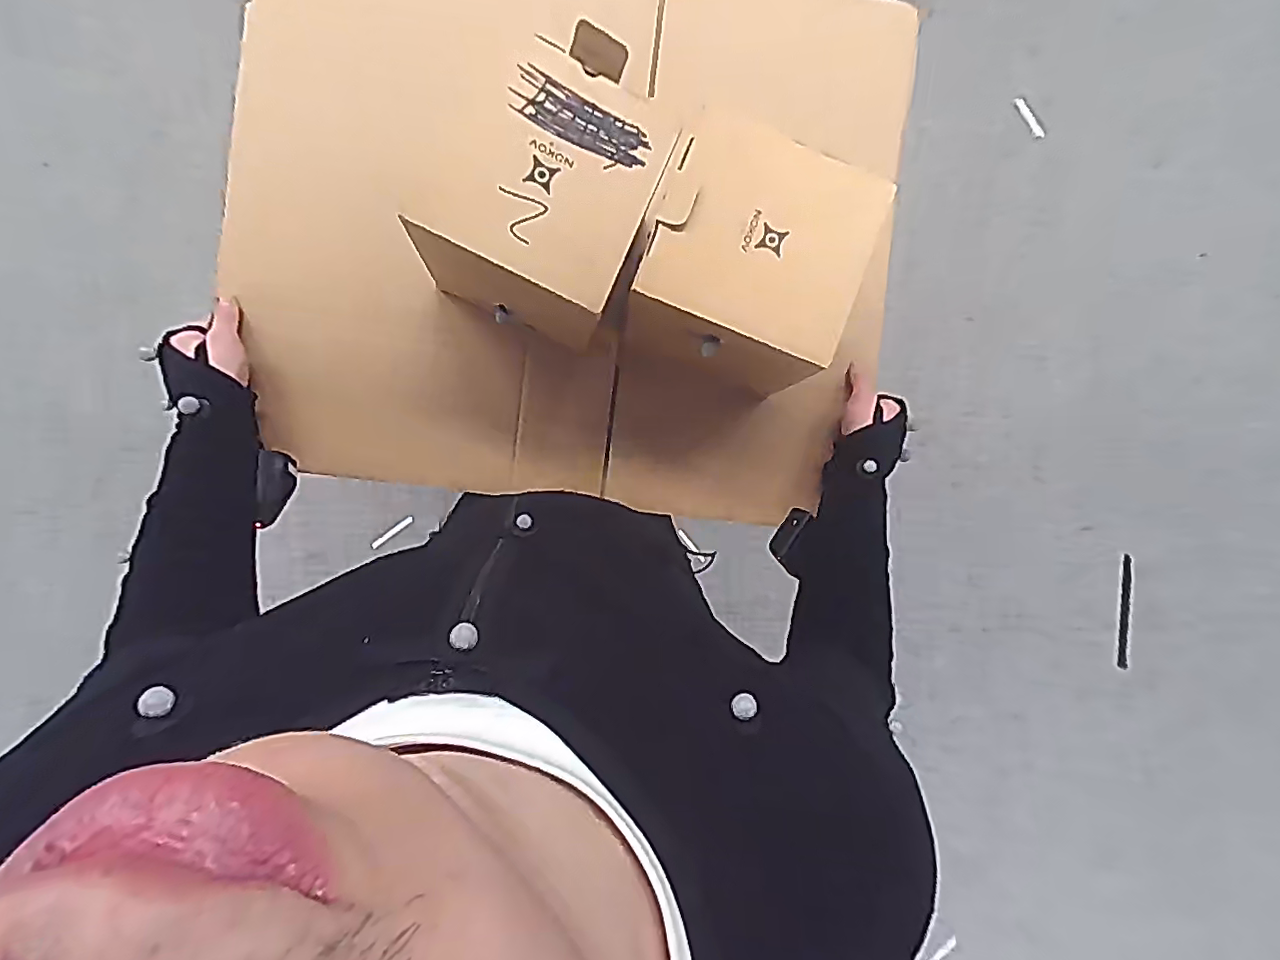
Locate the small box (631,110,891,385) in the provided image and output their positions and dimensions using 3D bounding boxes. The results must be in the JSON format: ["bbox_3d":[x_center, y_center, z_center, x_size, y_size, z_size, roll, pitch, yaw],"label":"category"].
[{"bbox_3d":[0.100,-0.203,0.532,0.179,0.176,0.168,21,90,-2],"label":"small box"}]
